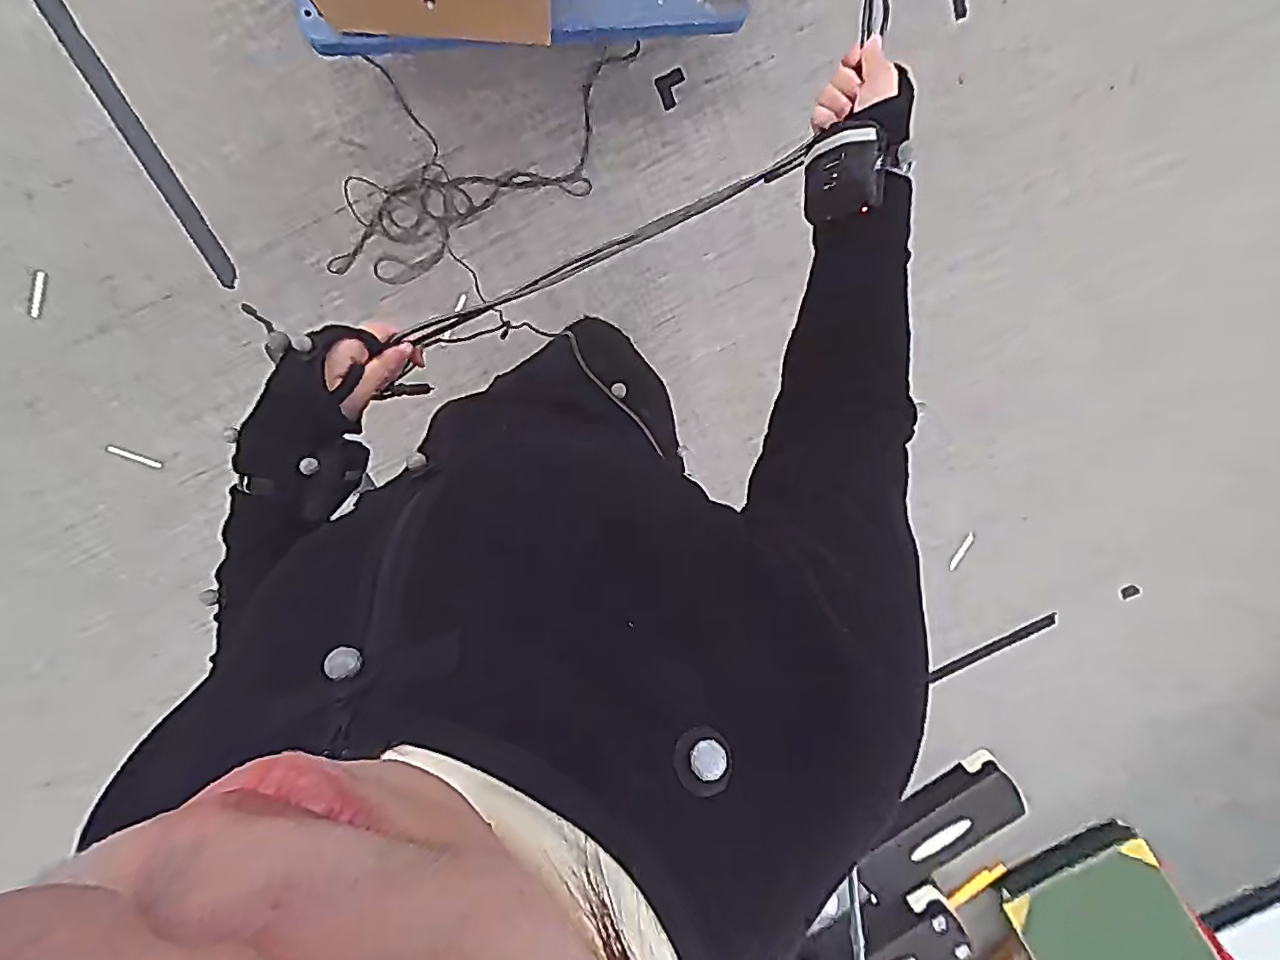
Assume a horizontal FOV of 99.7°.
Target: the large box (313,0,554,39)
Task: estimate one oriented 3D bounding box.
[{"bbox_3d":[-0.351,-0.945,0.846,0.408,0.320,0.320,-3,106,-7],"label":"large box"}]
